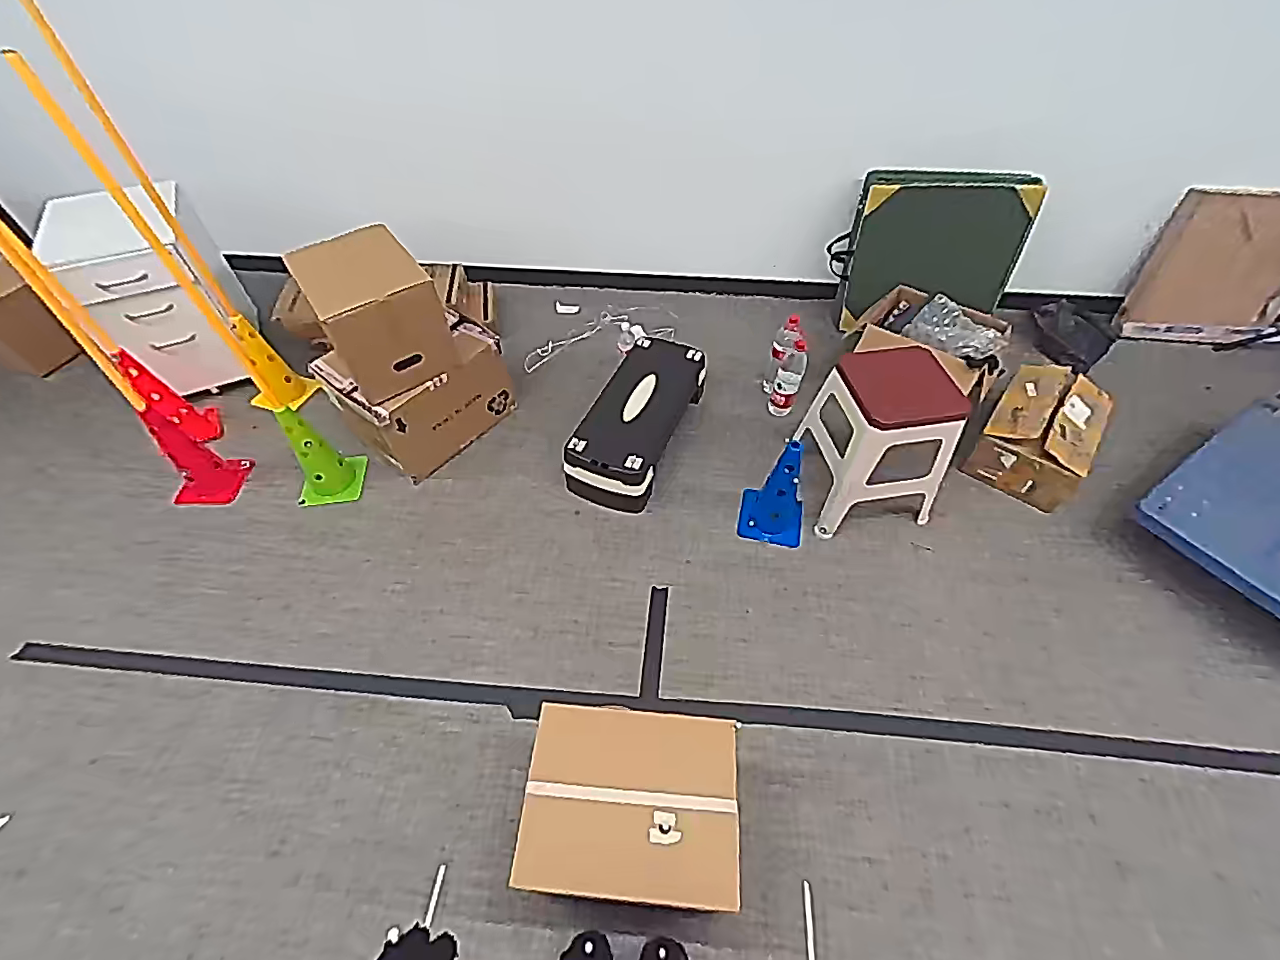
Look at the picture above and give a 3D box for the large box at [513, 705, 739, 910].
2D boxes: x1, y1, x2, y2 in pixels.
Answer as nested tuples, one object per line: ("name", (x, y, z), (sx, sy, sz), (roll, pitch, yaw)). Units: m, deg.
("large box", (-0.020, 0.696, 1.143), (0.408, 0.320, 0.320), (5, 52, 2))
